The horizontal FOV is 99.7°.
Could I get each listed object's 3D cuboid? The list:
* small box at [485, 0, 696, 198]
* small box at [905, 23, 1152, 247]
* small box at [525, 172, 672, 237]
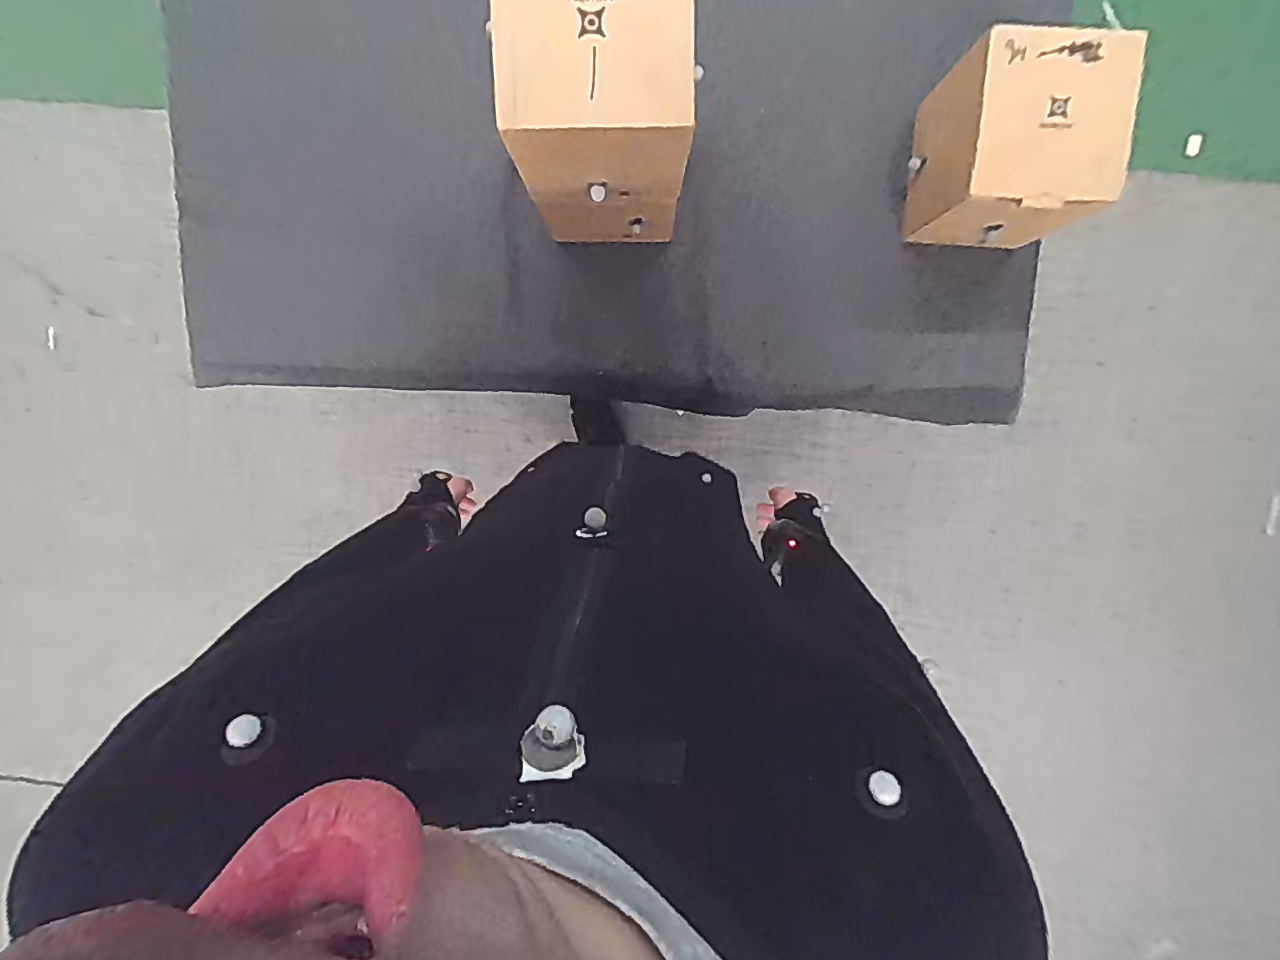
[{"bbox_3d":[-0.040,-0.383,0.495,0.168,0.176,0.179,0,99,-1],"label":"small box"},{"bbox_3d":[0.445,-0.395,0.652,0.168,0.176,0.179,4,98,0],"label":"small box"},{"bbox_3d":[-0.042,-0.408,0.657,0.168,0.176,0.179,0,97,-1],"label":"small box"}]
